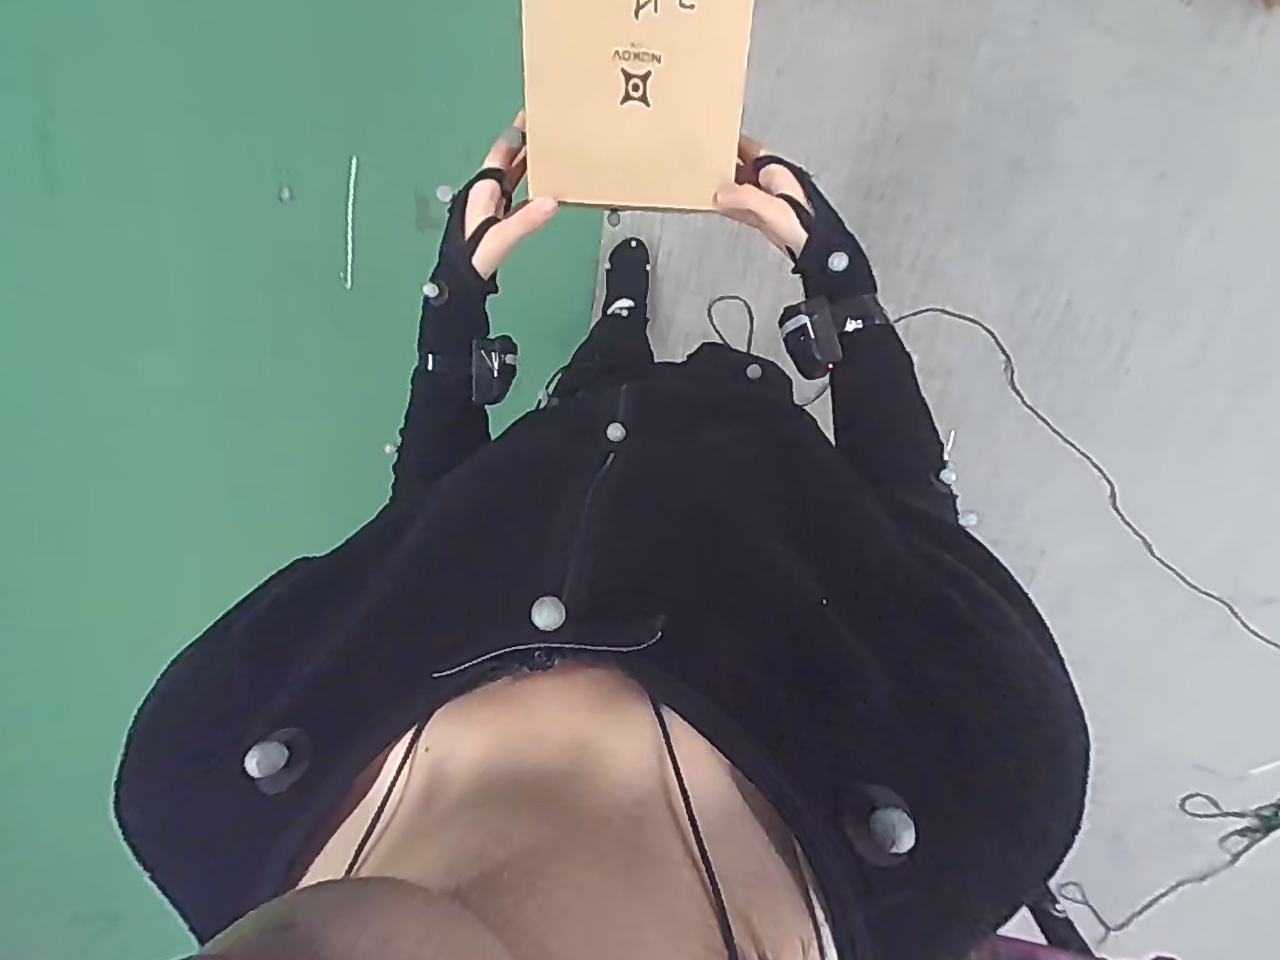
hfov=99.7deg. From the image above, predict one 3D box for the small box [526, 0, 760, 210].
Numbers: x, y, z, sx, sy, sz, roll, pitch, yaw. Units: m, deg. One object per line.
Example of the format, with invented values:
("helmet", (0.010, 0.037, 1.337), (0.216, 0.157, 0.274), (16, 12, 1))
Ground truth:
("small box", (-0.010, -0.333, 0.461), (0.168, 0.176, 0.179), (-1, 115, -10))
